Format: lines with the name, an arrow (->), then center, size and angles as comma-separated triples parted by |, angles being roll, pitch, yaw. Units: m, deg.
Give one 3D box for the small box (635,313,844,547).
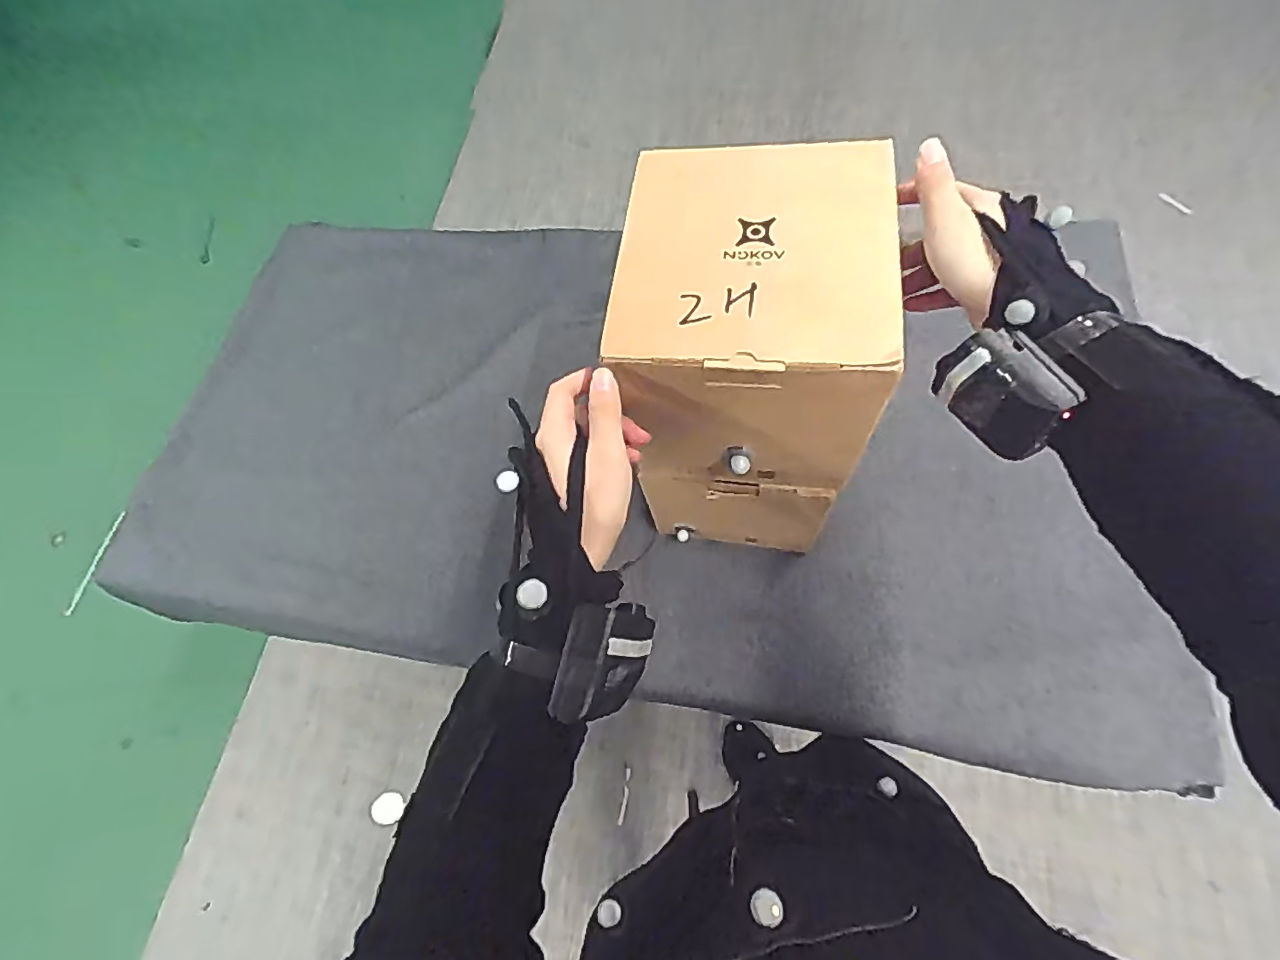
small box -> 0.103, -0.042, 0.548 | 0.168, 0.176, 0.179 | 7, 68, 12
